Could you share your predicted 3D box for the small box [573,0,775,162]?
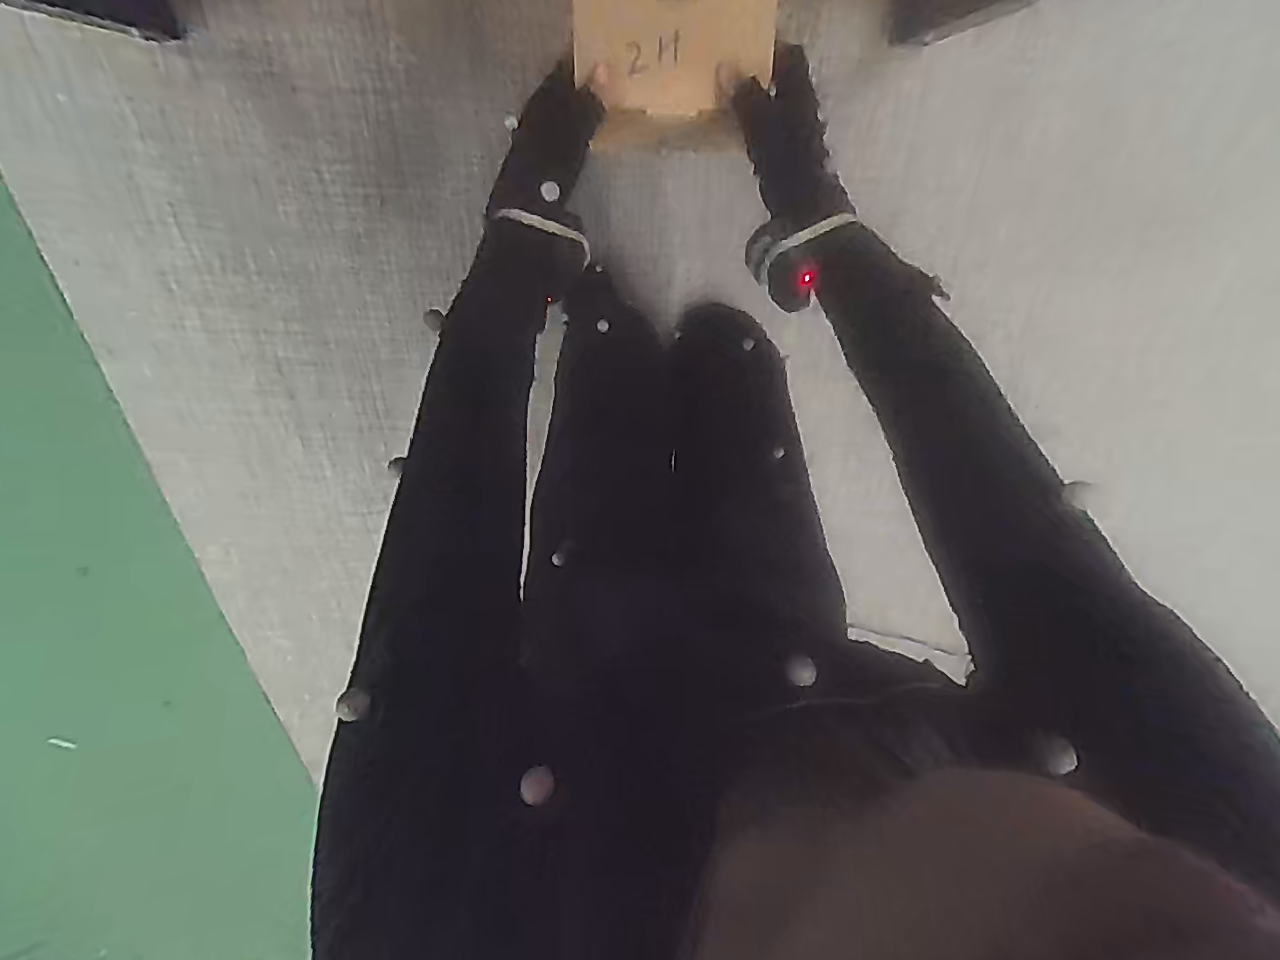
[{"bbox_3d":[0.028,-0.416,0.505,0.168,0.176,0.179,1,110,1],"label":"small box"}]
